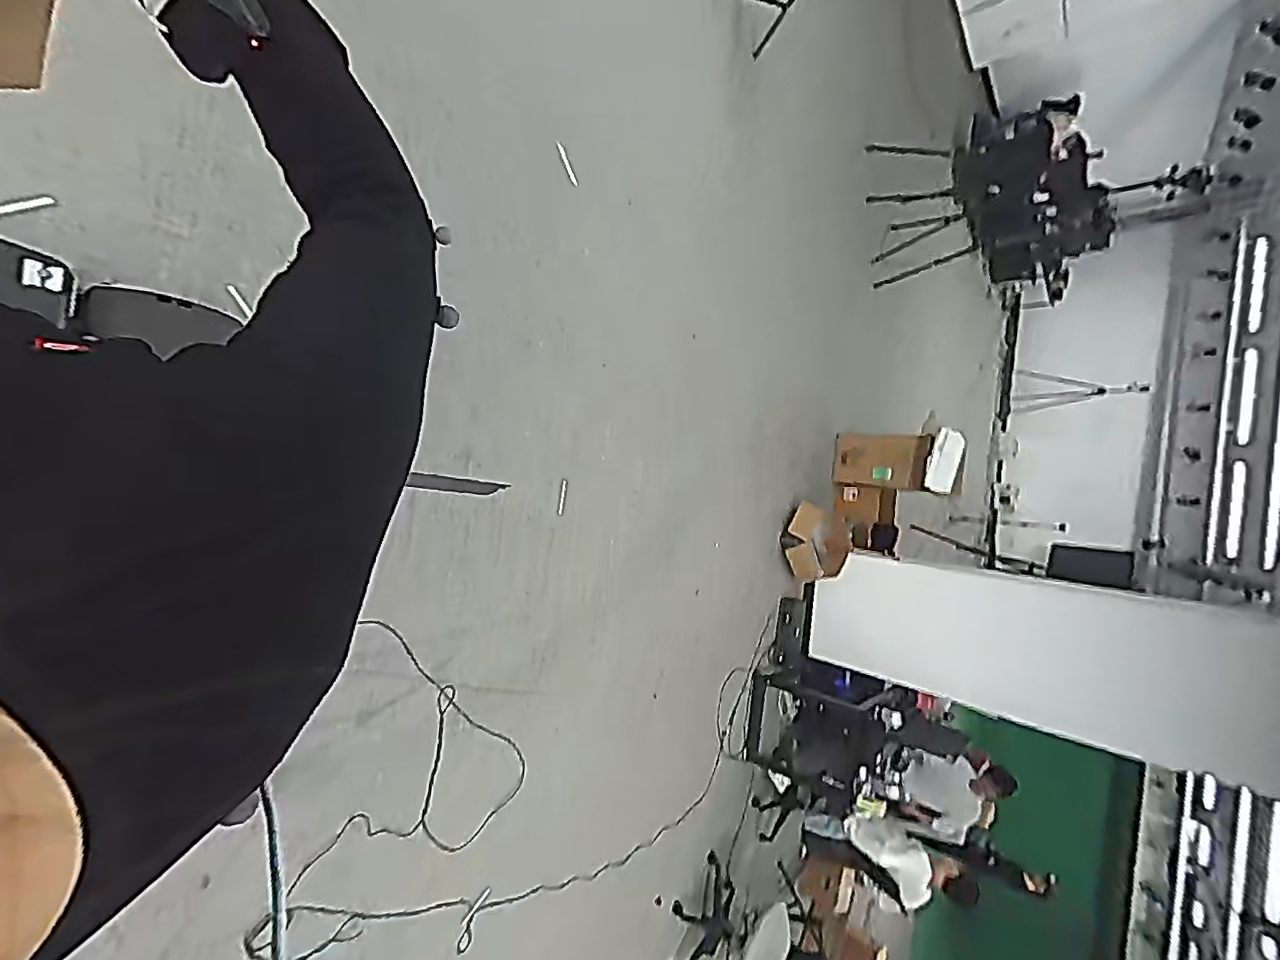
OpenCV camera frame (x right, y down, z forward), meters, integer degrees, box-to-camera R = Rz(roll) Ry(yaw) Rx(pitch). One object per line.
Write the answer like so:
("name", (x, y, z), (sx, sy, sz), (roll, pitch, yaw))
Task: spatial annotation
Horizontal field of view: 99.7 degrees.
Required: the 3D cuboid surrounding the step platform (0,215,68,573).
("step platform", (-1.276, -0.160, 0.984), (0.286, 0.204, 0.684), (5, 89, -49))
